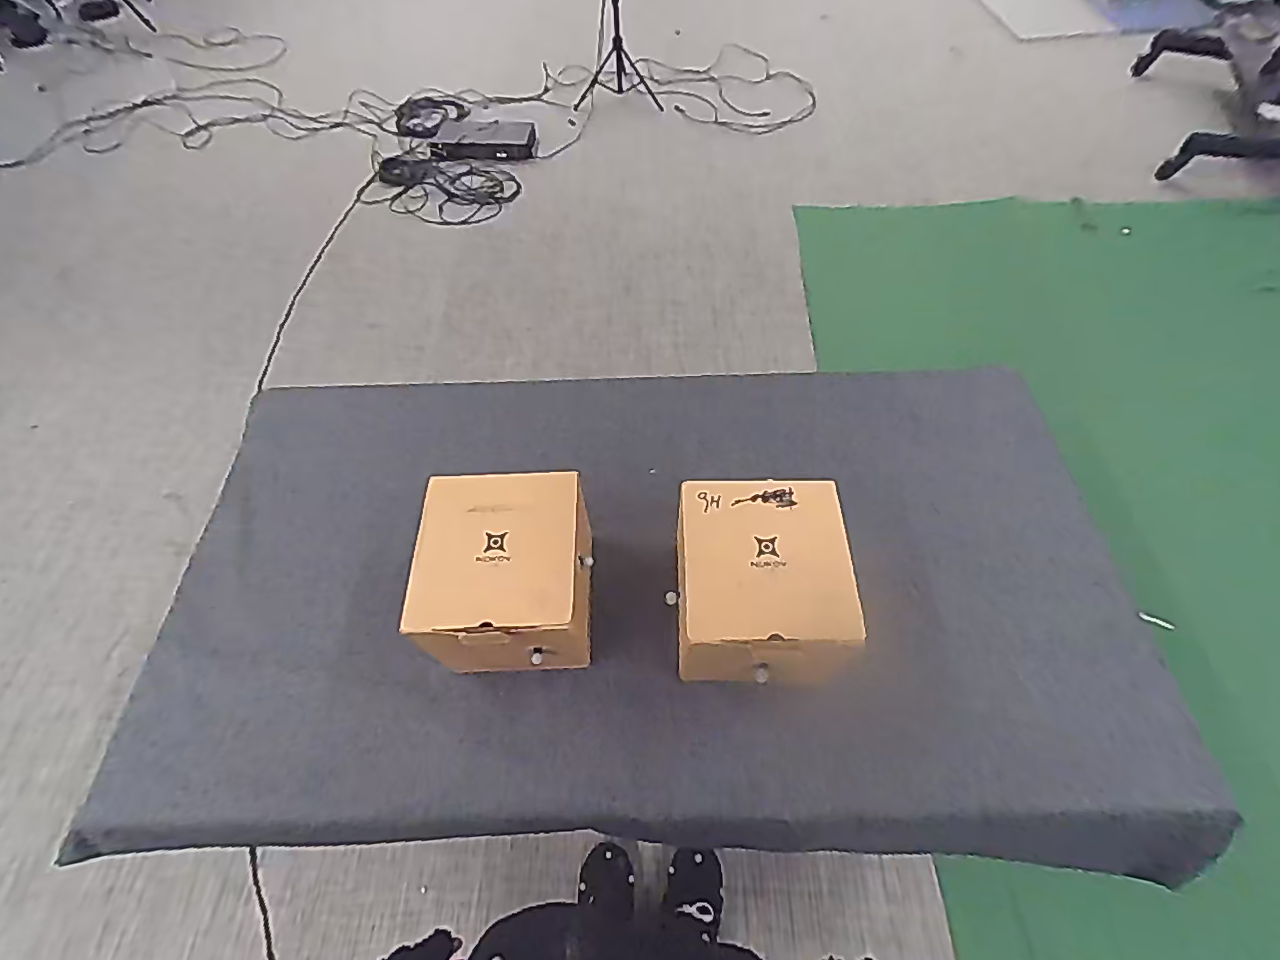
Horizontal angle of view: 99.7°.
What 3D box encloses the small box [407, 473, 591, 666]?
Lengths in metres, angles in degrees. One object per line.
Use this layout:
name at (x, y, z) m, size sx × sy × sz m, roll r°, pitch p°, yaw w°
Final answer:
small box at (-0.145, 0.111, 0.629) m, size 0.168 × 0.176 × 0.179 m, roll -2°, pitch 57°, yaw -1°
